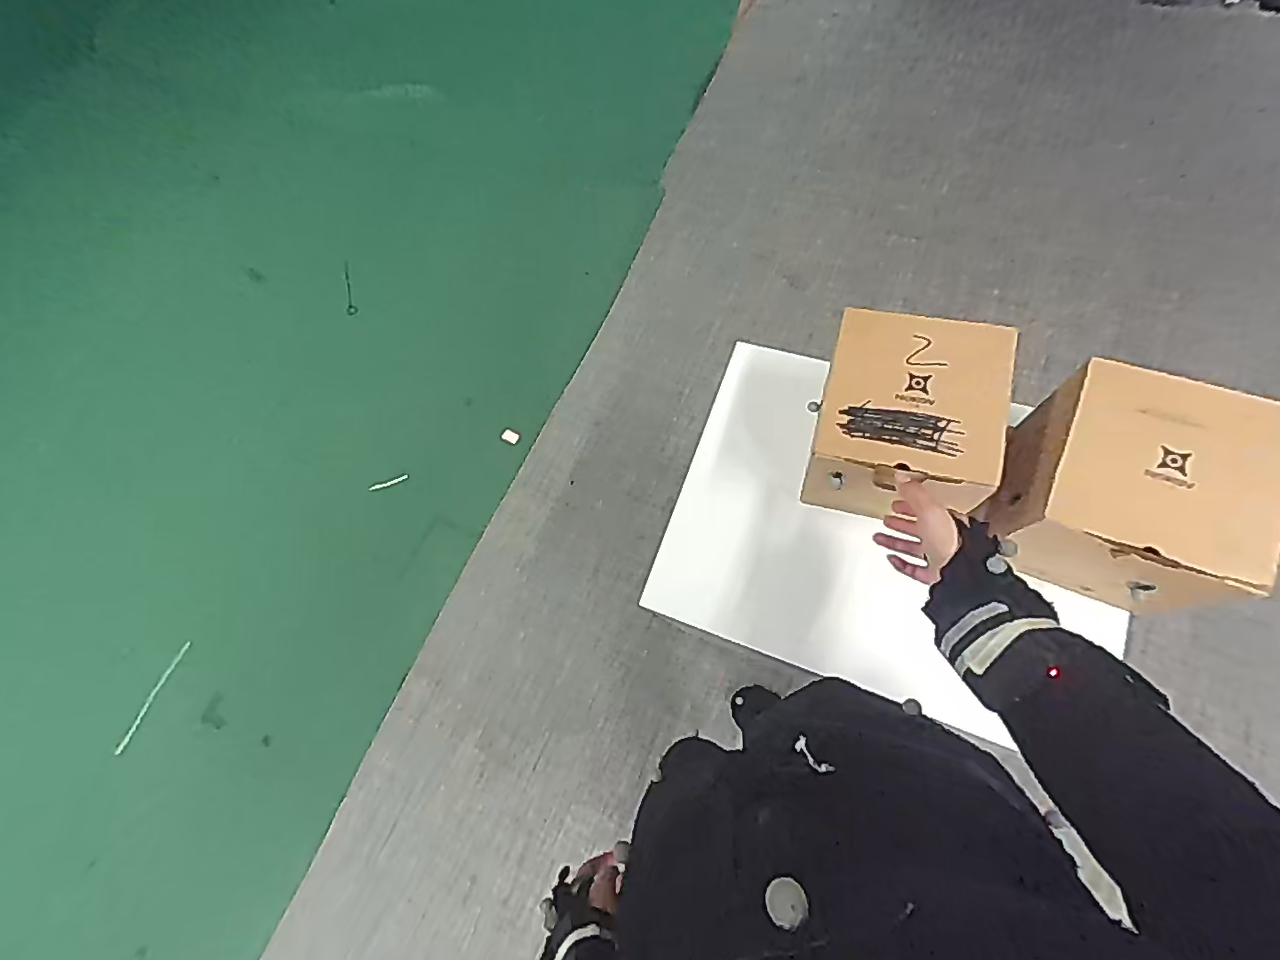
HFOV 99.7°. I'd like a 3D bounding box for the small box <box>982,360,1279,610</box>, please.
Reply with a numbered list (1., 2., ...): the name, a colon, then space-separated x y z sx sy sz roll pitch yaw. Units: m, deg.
1. small box: 0.476 0.016 0.541 0.168 0.176 0.179 22 76 17
